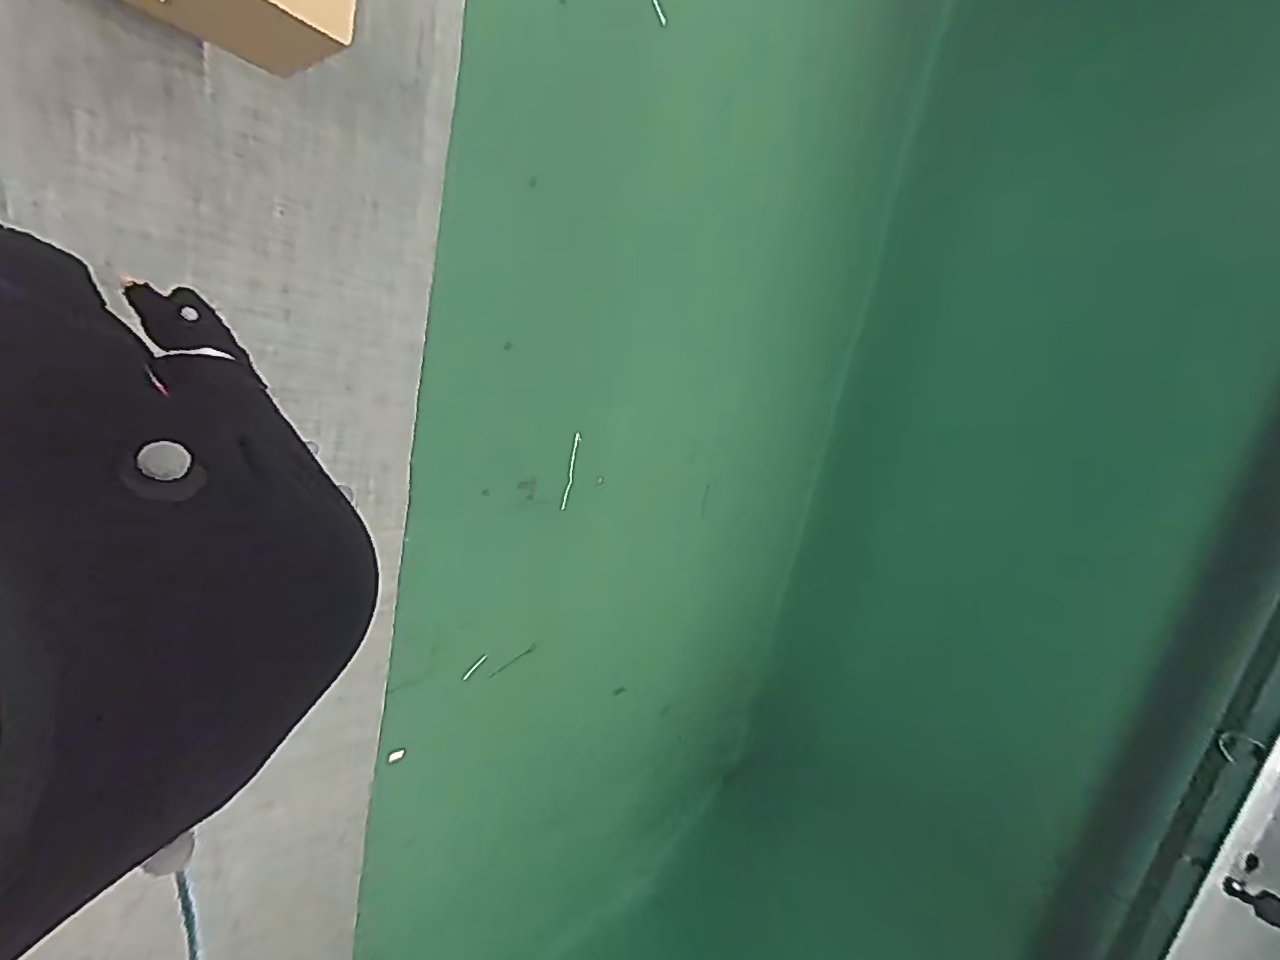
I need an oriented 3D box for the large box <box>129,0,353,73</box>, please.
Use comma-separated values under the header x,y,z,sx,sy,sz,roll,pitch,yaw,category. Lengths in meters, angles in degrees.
x,y,z,sx,sy,sz,roll,pitch,yaw,category
-0.666,-0.872,0.768,0.408,0.320,0.320,0,107,-50,large box
